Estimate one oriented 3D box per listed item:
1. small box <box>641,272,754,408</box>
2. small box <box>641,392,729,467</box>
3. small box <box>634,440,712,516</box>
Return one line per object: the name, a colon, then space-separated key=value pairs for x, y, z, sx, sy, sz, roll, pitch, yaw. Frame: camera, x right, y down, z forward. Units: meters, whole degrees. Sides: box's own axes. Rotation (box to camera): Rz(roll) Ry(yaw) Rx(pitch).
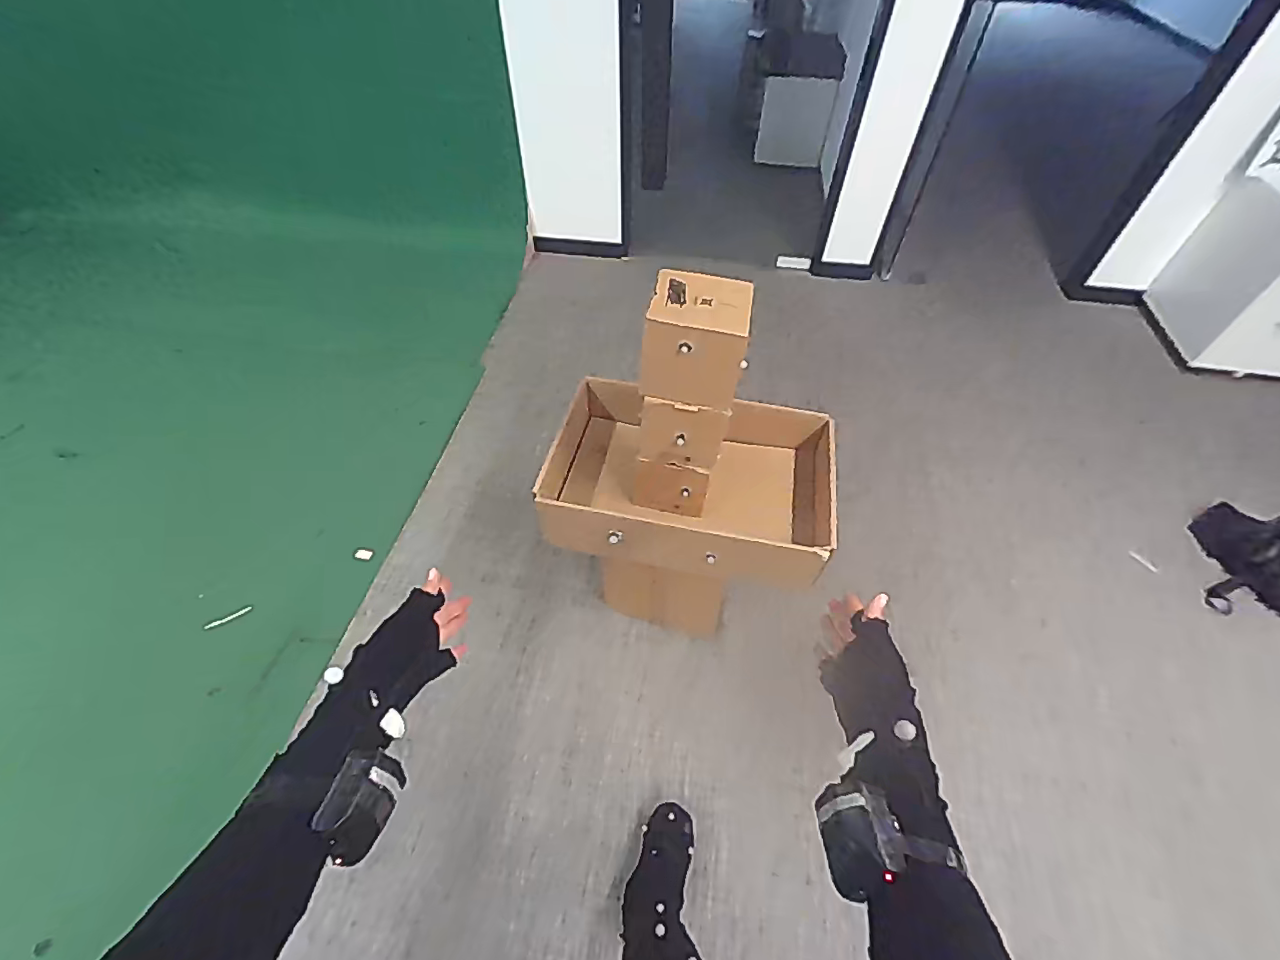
small box: x=0.102 y=-0.255 z=1.000 sx=0.179 sy=0.176 sz=0.168 roll=11 pitch=51 yaw=4
small box: x=0.095 y=-0.148 z=1.126 sx=0.168 sy=0.176 sz=0.179 roll=9 pitch=52 yaw=3
small box: x=0.082 y=-0.040 z=1.249 sx=0.168 sy=0.176 sz=0.179 roll=11 pitch=49 yaw=4
